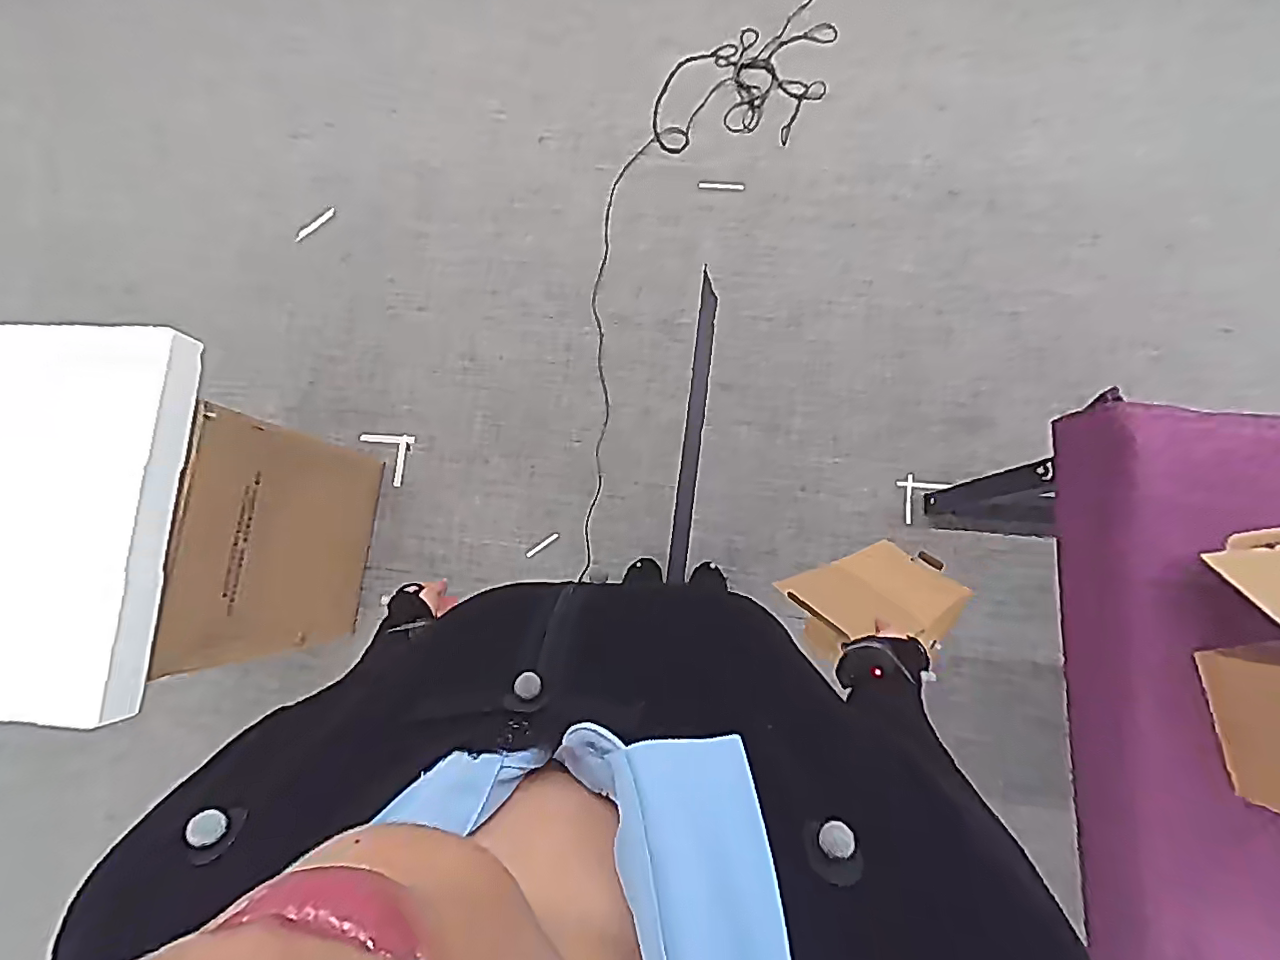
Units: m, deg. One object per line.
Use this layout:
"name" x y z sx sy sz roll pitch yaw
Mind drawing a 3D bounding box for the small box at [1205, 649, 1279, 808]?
"small box" 0.795 0.282 0.593 0.168 0.176 0.179 -8 81 3
